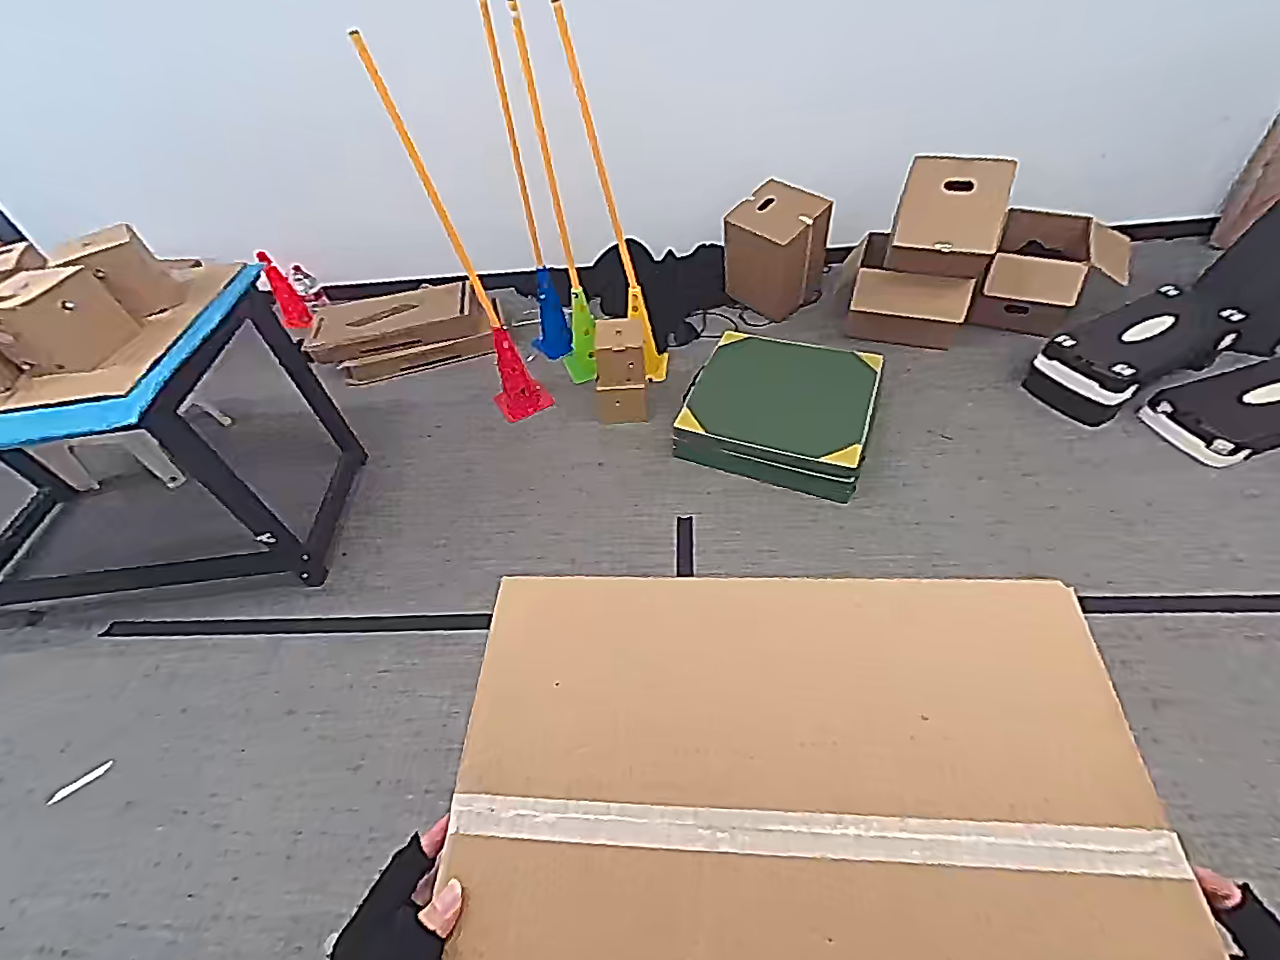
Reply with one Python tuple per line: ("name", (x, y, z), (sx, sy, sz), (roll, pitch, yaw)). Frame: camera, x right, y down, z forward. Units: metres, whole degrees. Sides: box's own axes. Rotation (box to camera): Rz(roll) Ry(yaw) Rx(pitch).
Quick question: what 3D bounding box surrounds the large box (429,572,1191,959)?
("large box", (0.100, 0.283, 0.444), (0.408, 0.320, 0.320), (-2, 55, 7))
